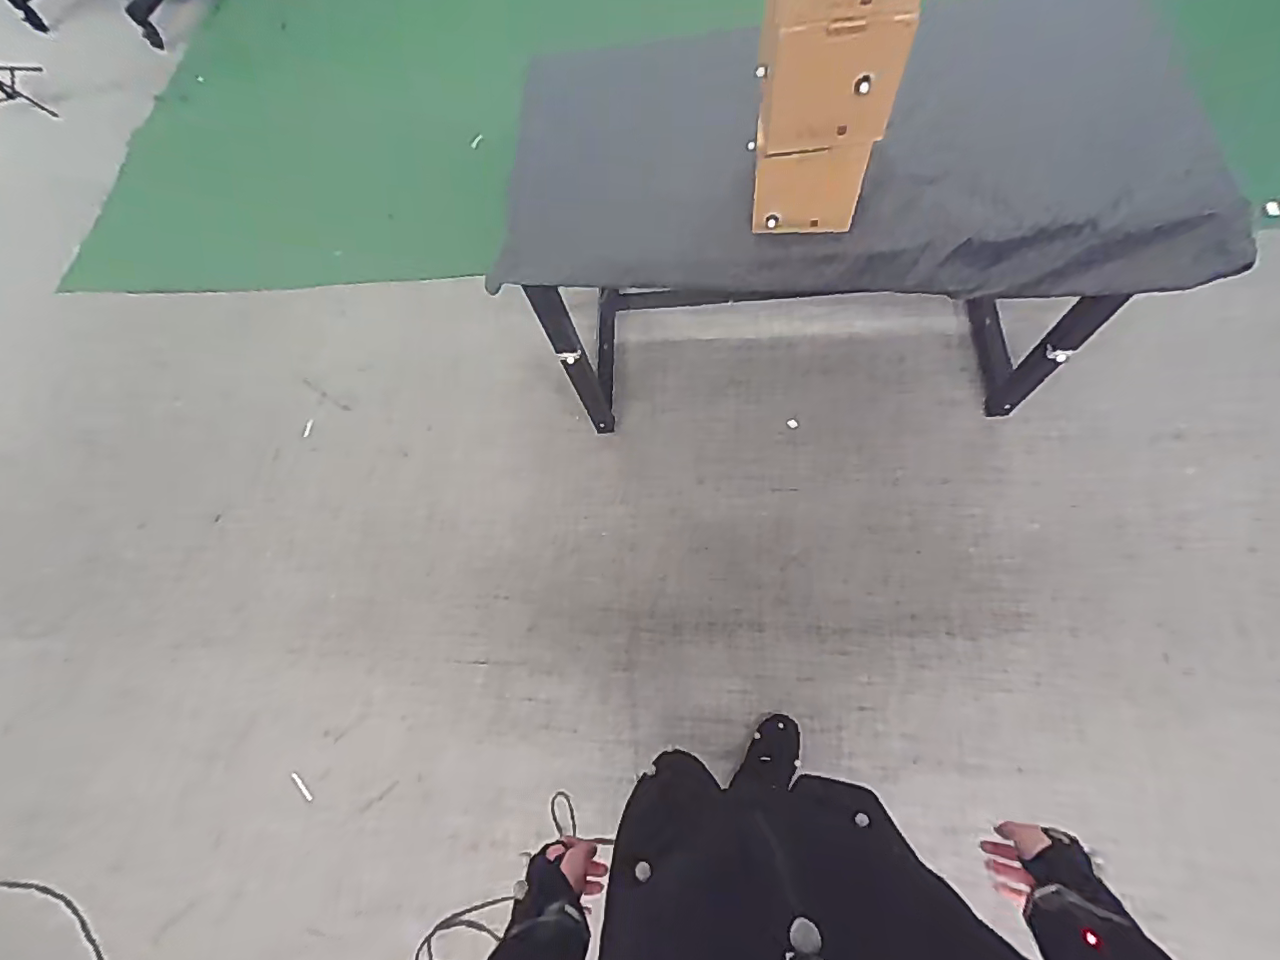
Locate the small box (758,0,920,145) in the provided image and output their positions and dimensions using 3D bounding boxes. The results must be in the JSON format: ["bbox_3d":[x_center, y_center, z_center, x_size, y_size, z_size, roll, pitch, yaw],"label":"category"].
[{"bbox_3d":[0.255,-0.588,0.736,0.168,0.176,0.179,-2,68,6],"label":"small box"}]

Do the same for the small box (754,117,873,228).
[{"bbox_3d":[0.278,-0.538,0.888,0.168,0.176,0.179,4,69,10],"label":"small box"}]

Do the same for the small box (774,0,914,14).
[{"bbox_3d":[0.235,-0.649,0.585,0.168,0.176,0.179,0,71,8],"label":"small box"}]
